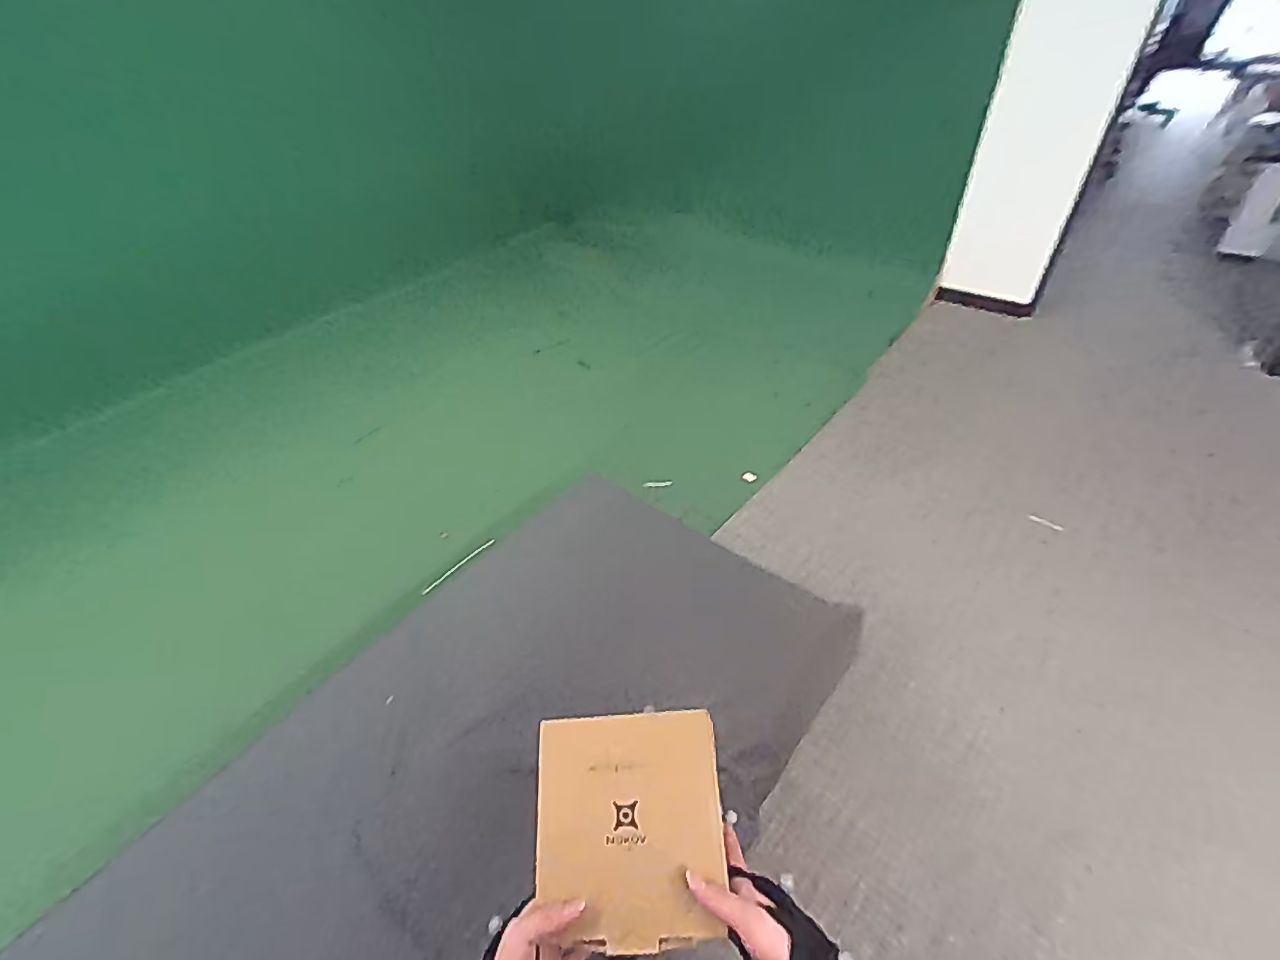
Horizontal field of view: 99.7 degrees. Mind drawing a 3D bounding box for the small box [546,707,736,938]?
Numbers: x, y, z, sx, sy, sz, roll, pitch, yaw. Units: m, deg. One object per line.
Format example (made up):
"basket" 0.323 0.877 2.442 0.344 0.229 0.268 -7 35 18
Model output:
"small box" 0.007 0.337 0.559 0.168 0.176 0.179 -5 62 5
